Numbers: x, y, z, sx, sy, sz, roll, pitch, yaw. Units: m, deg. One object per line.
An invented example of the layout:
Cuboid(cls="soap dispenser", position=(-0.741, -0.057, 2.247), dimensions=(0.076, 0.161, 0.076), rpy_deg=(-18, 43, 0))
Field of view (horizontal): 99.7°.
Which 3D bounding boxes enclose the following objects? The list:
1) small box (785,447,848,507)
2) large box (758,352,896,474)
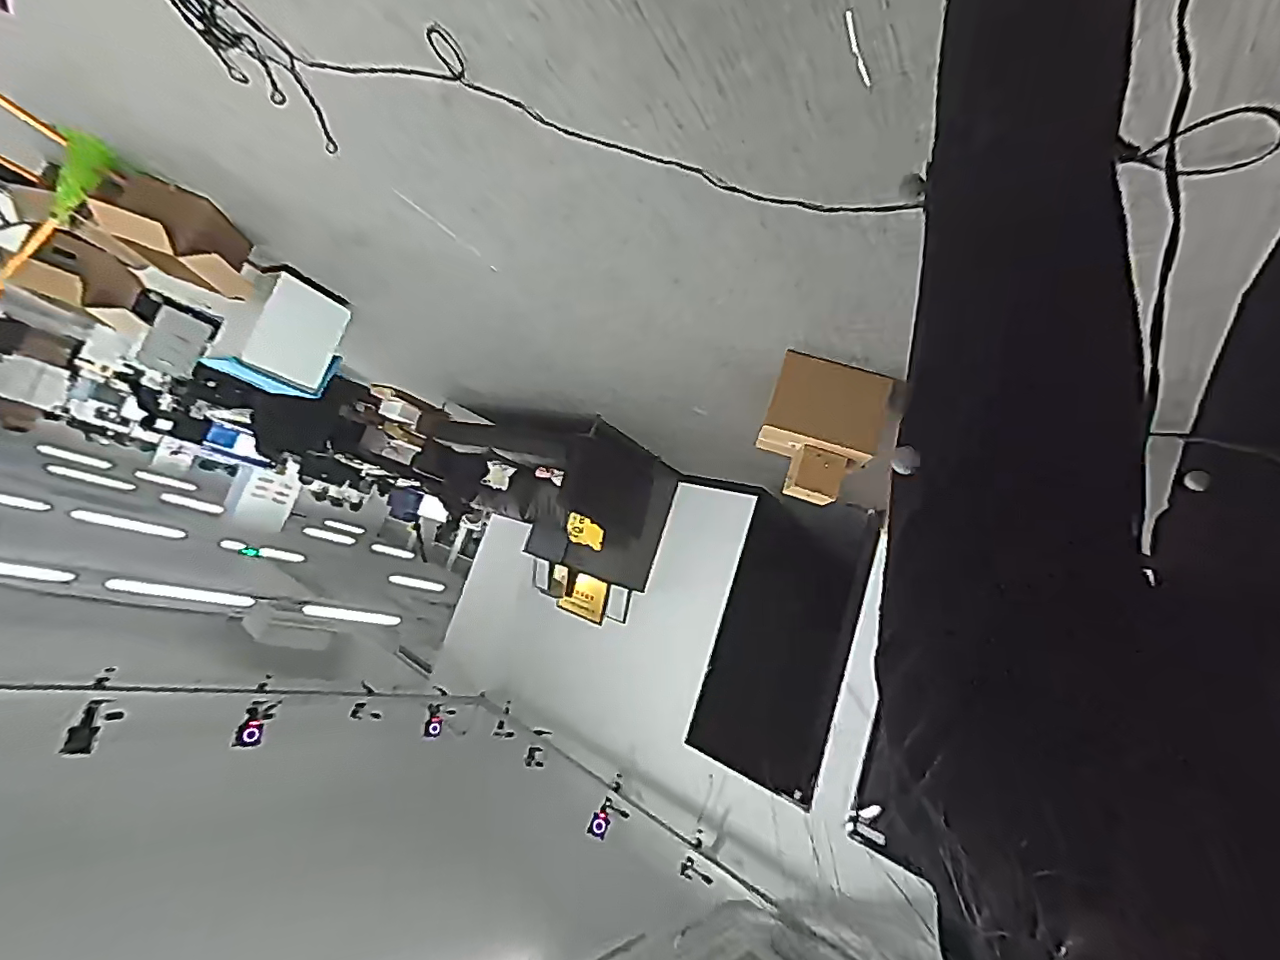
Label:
Cuboid(cls="small box", position=(0.675, -0.011, 2.064), dimensions=(0.168, 0.176, 0.179), rpy_deg=(19, 171, 5))
Cuboid(cls="large box", position=(0.712, -0.253, 2.102), dimensions=(0.408, 0.320, 0.320), rpy_deg=(19, 170, 10))
